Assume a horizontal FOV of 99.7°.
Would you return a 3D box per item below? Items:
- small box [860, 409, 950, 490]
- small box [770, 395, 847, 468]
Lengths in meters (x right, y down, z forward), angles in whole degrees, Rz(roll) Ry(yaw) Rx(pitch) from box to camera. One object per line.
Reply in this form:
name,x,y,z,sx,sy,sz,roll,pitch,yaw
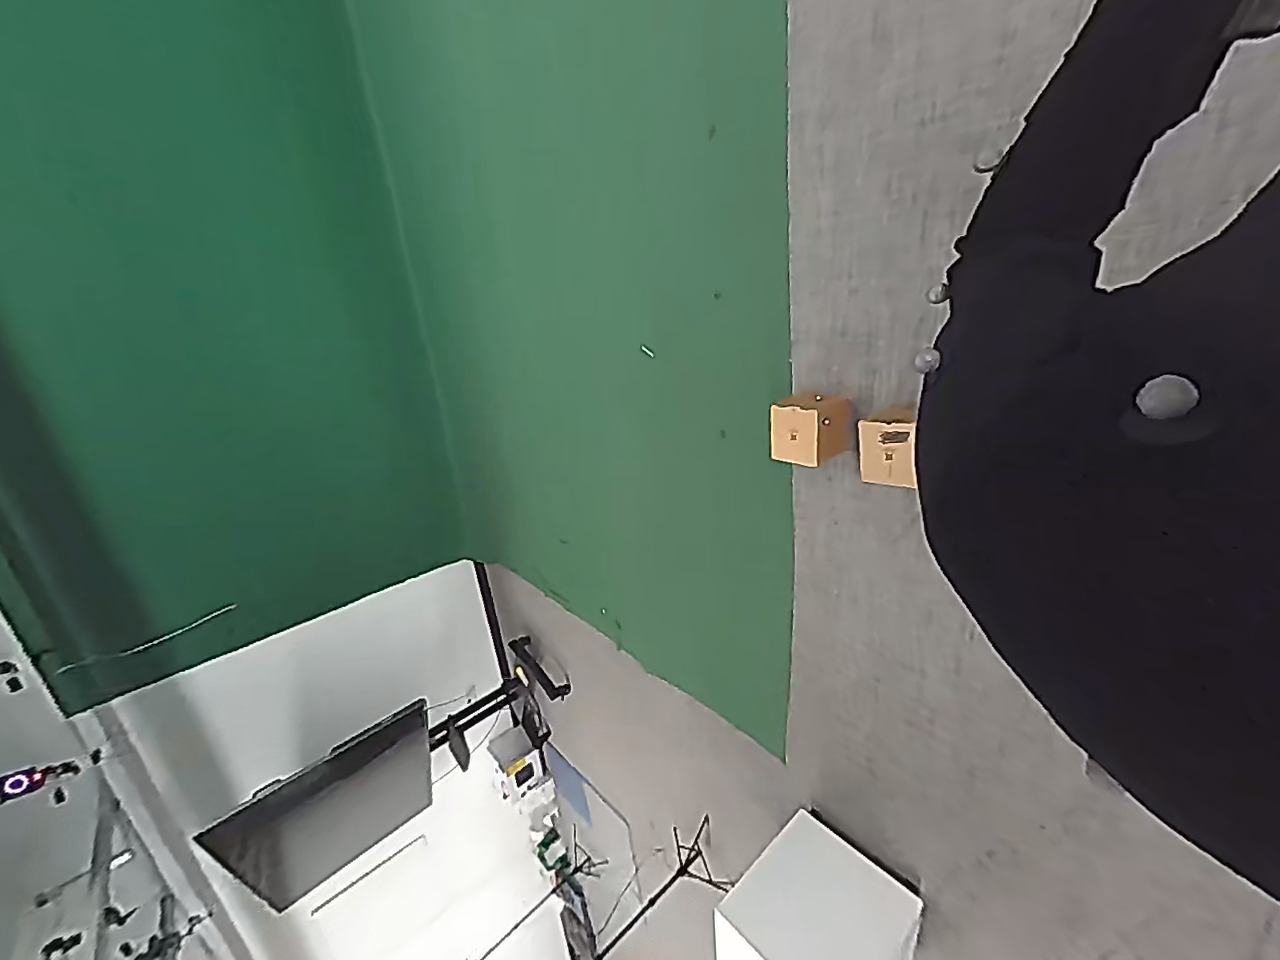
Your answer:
small box,0.708,-0.090,1.447,0.168,0.176,0.179,11,116,49
small box,0.518,-0.153,1.660,0.168,0.176,0.179,16,118,47
